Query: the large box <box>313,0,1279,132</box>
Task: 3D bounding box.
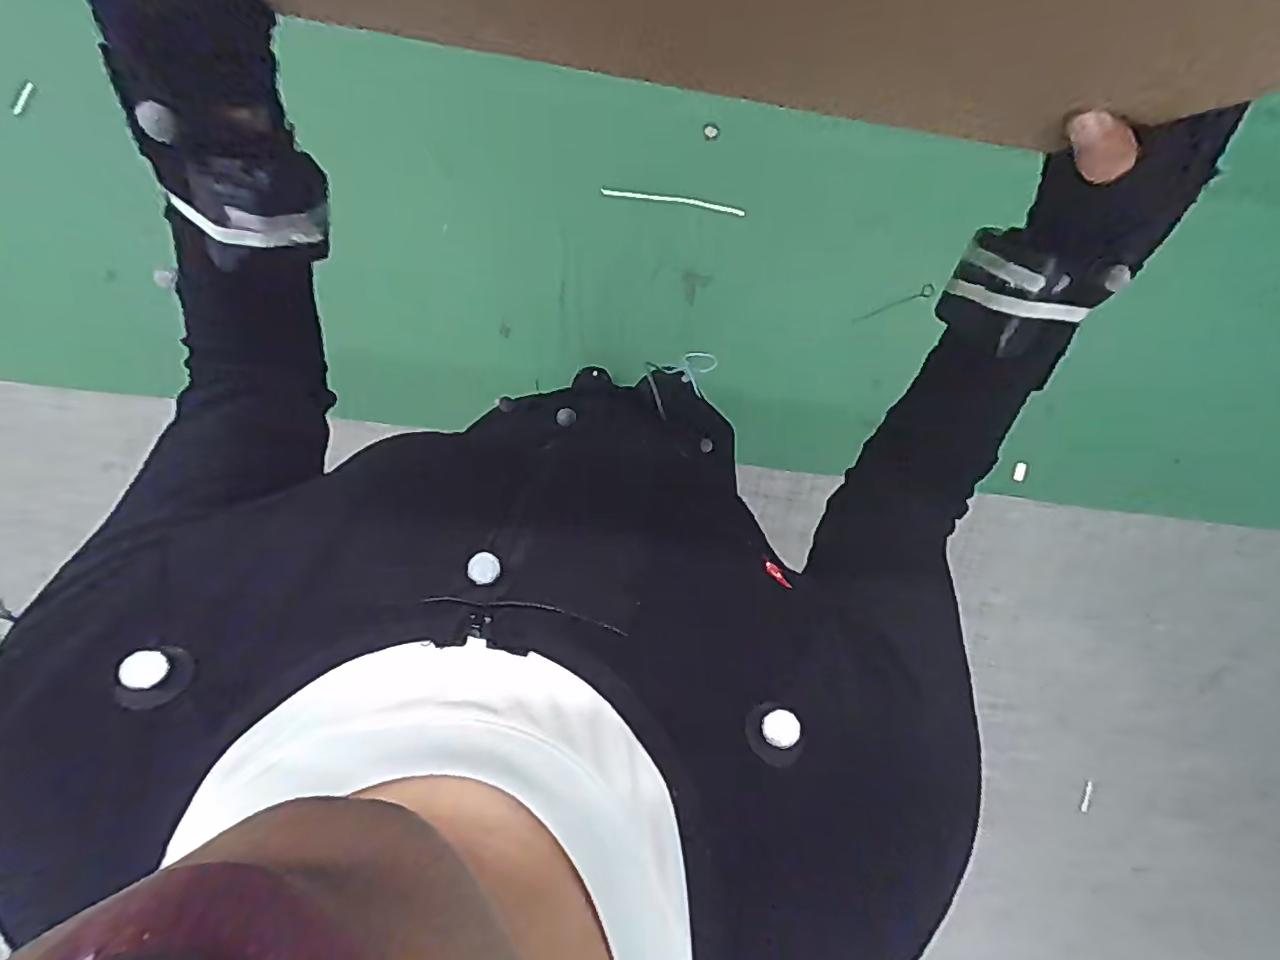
[{"bbox_3d":[0.077,-0.291,0.086,0.408,0.320,0.320,4,112,-9],"label":"large box"}]
